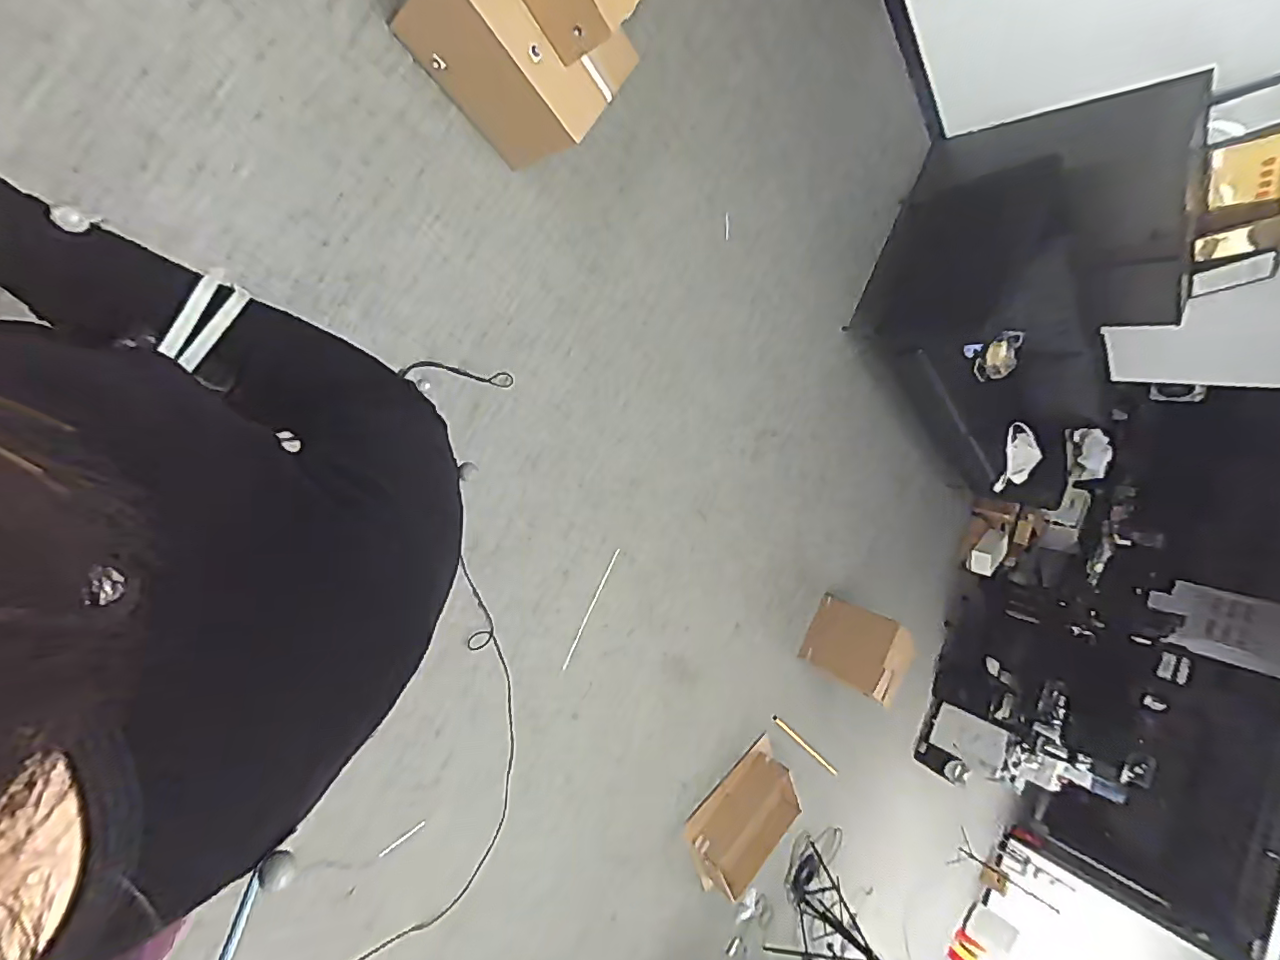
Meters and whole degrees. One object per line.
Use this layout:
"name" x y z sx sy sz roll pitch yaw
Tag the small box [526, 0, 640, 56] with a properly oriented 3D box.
"small box" -0.124 -1.042 1.139 0.179 0.176 0.168 44 69 -40
